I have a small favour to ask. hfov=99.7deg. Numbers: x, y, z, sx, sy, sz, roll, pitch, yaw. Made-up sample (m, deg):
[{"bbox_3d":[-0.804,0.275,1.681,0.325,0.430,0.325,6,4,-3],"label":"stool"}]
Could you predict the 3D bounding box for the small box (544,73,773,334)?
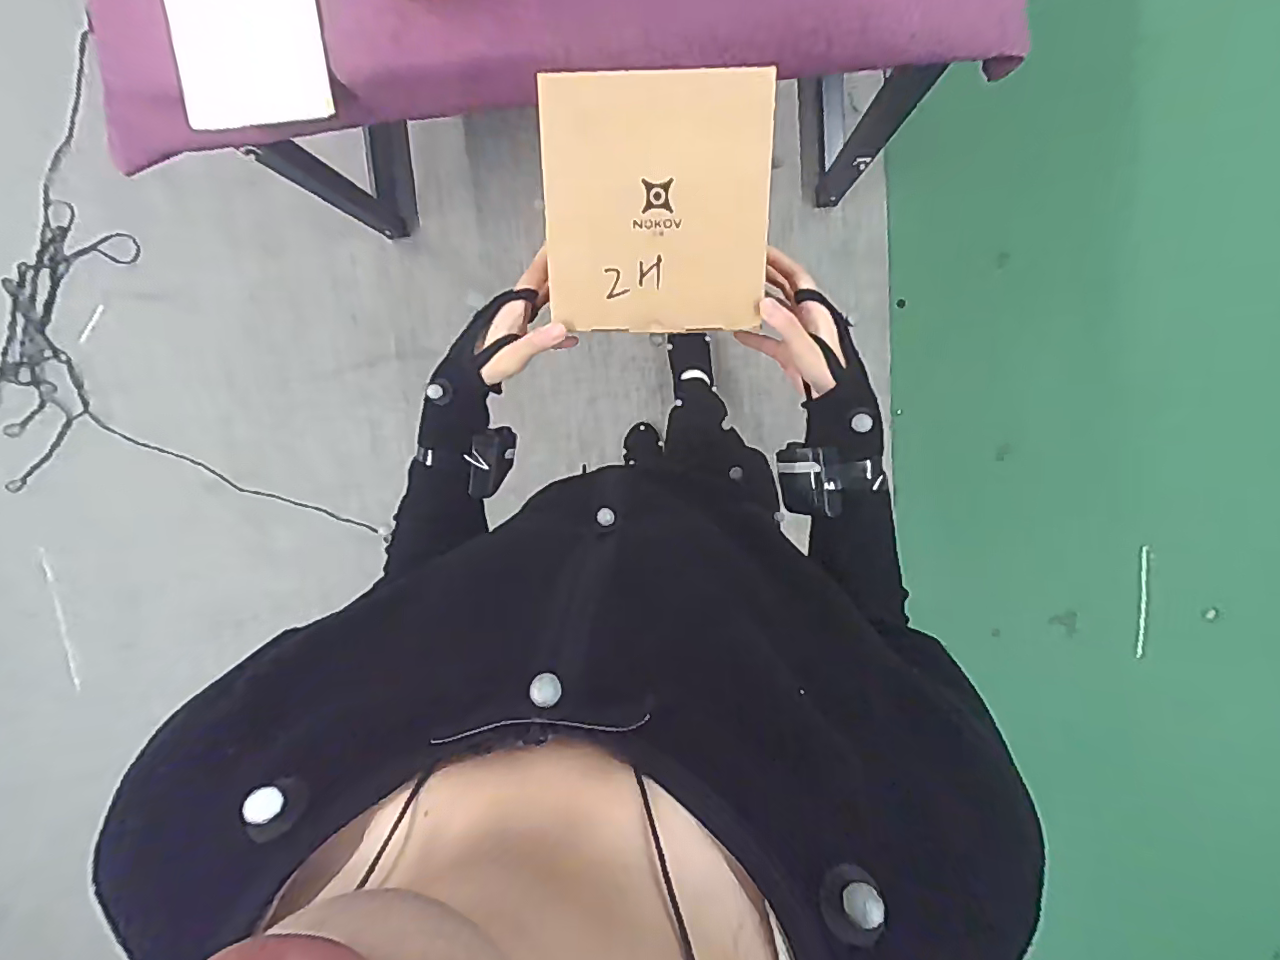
[{"bbox_3d":[0.013,-0.221,0.478,0.168,0.176,0.179,1,106,2],"label":"small box"}]
